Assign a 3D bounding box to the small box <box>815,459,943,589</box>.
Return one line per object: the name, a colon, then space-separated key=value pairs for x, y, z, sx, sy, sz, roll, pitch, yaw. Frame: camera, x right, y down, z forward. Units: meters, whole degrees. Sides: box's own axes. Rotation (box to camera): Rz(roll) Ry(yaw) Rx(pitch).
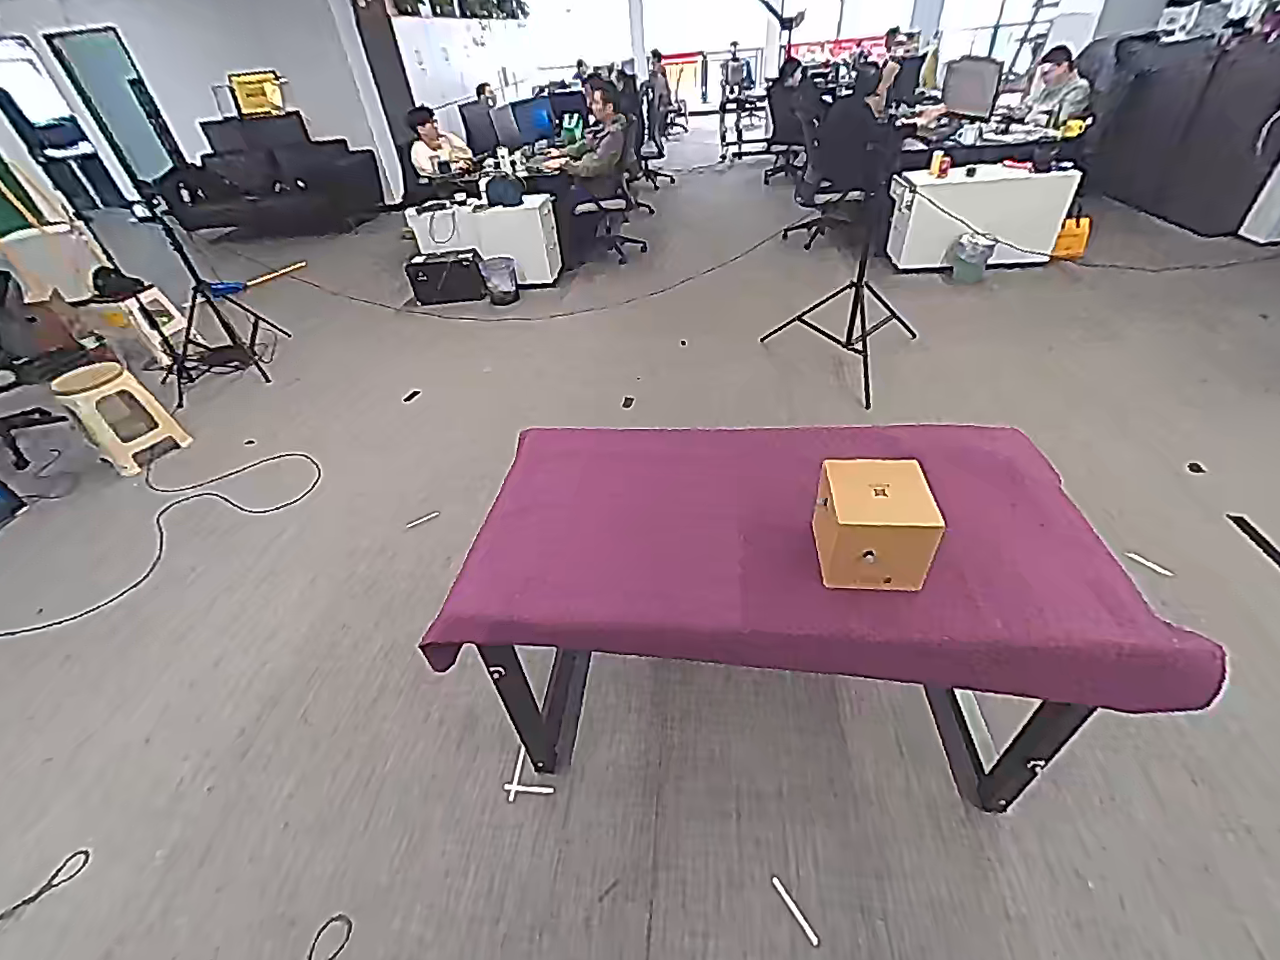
small box: x=0.421 y=0.081 z=0.983 sx=0.168 sy=0.176 sz=0.179 roll=0 pitch=39 yaw=8
